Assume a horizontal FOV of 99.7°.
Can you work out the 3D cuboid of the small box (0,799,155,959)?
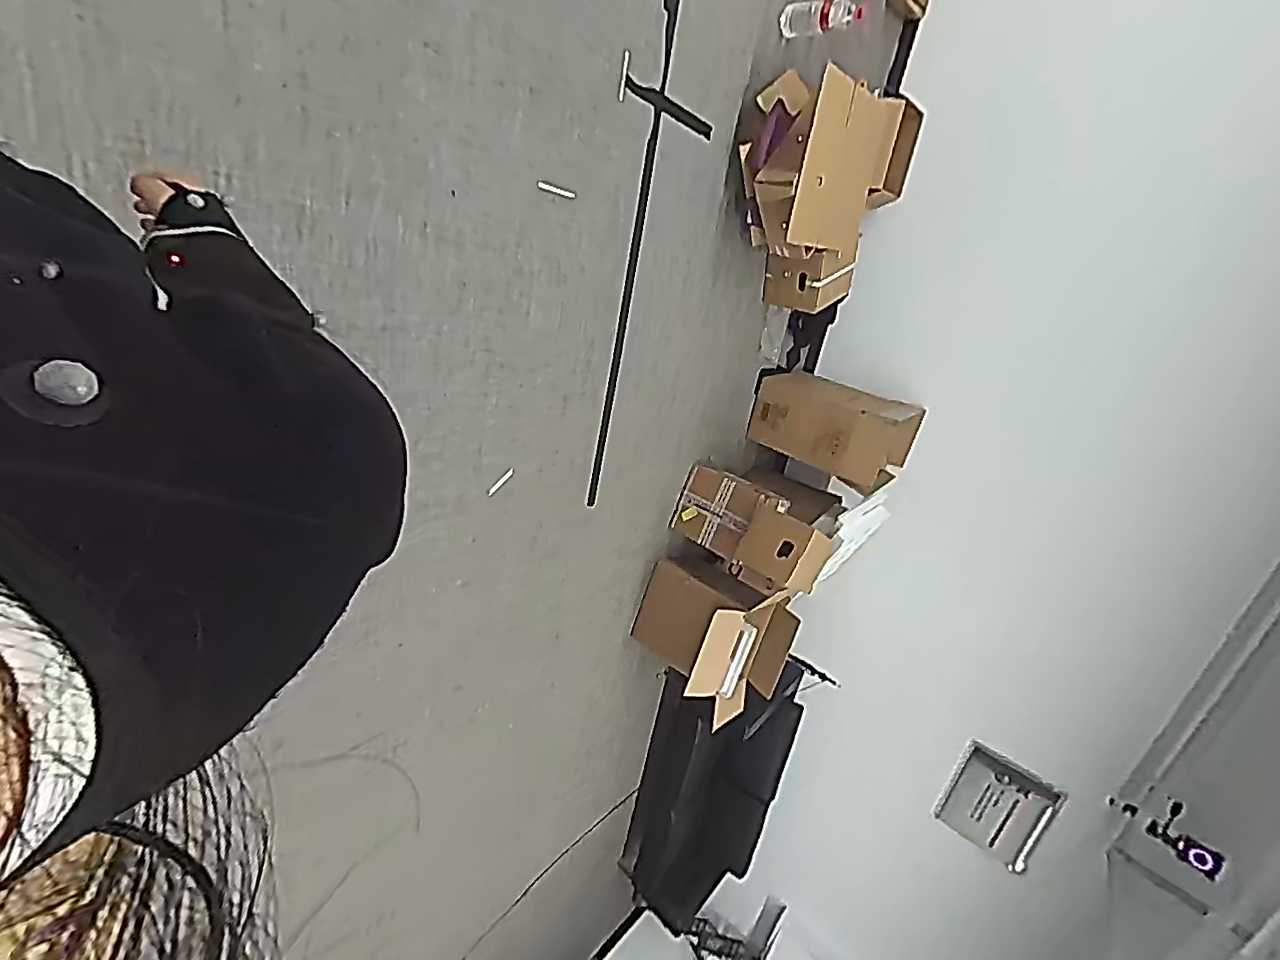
[{"bbox_3d":[-0.830,0.603,0.779,0.168,0.176,0.179,-10,119,-50],"label":"small box"}]
